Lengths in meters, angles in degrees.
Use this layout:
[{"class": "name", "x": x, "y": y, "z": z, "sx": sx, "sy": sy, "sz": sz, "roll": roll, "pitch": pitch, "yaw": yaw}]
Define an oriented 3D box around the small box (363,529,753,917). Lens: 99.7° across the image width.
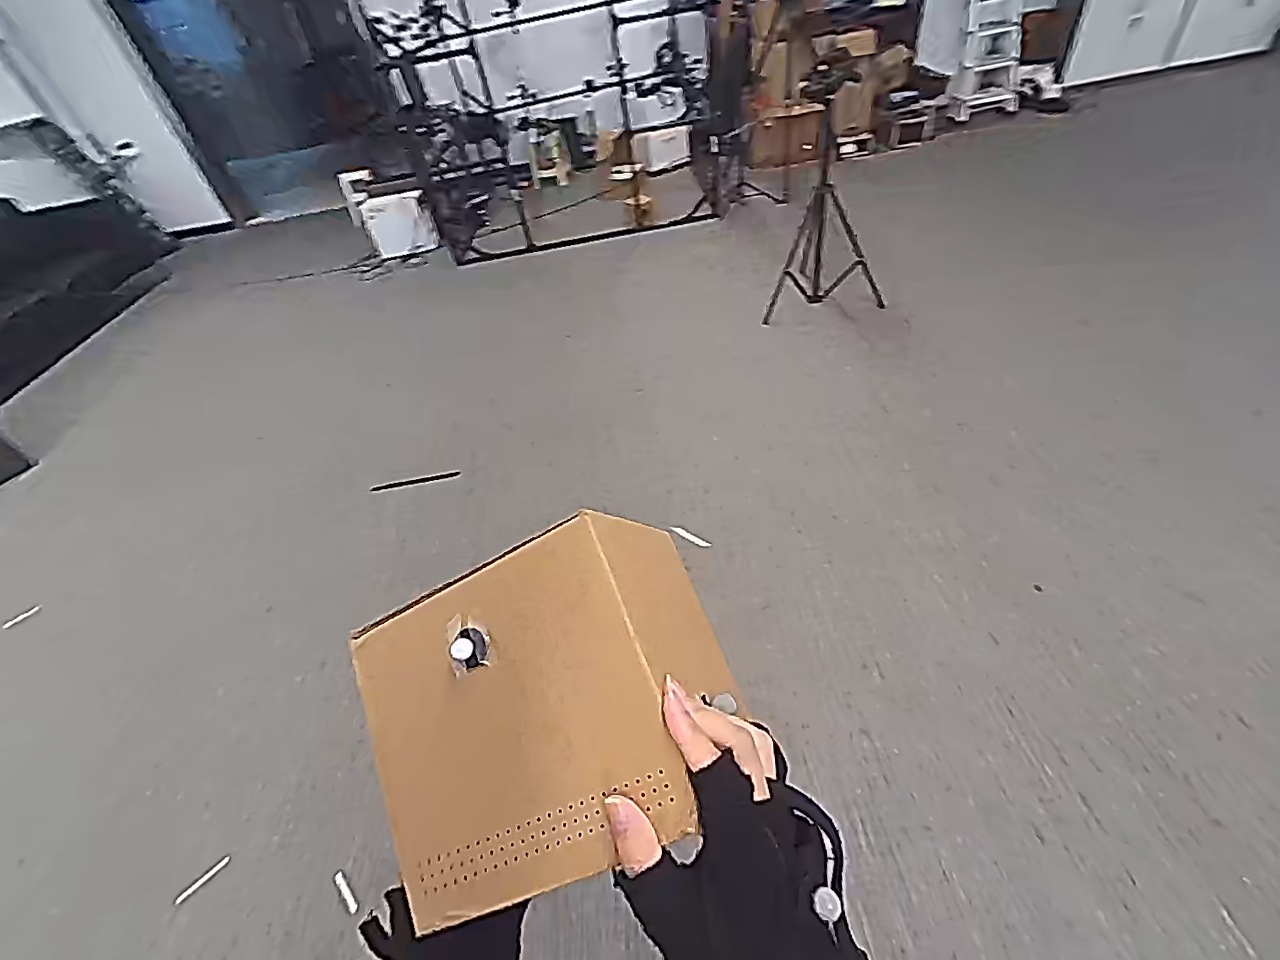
[{"class": "small box", "x": -0.047, "y": 0.153, "z": 0.375, "sx": 0.179, "sy": 0.168, "sz": 0.176, "roll": -29, "pitch": 72, "yaw": 13}]
